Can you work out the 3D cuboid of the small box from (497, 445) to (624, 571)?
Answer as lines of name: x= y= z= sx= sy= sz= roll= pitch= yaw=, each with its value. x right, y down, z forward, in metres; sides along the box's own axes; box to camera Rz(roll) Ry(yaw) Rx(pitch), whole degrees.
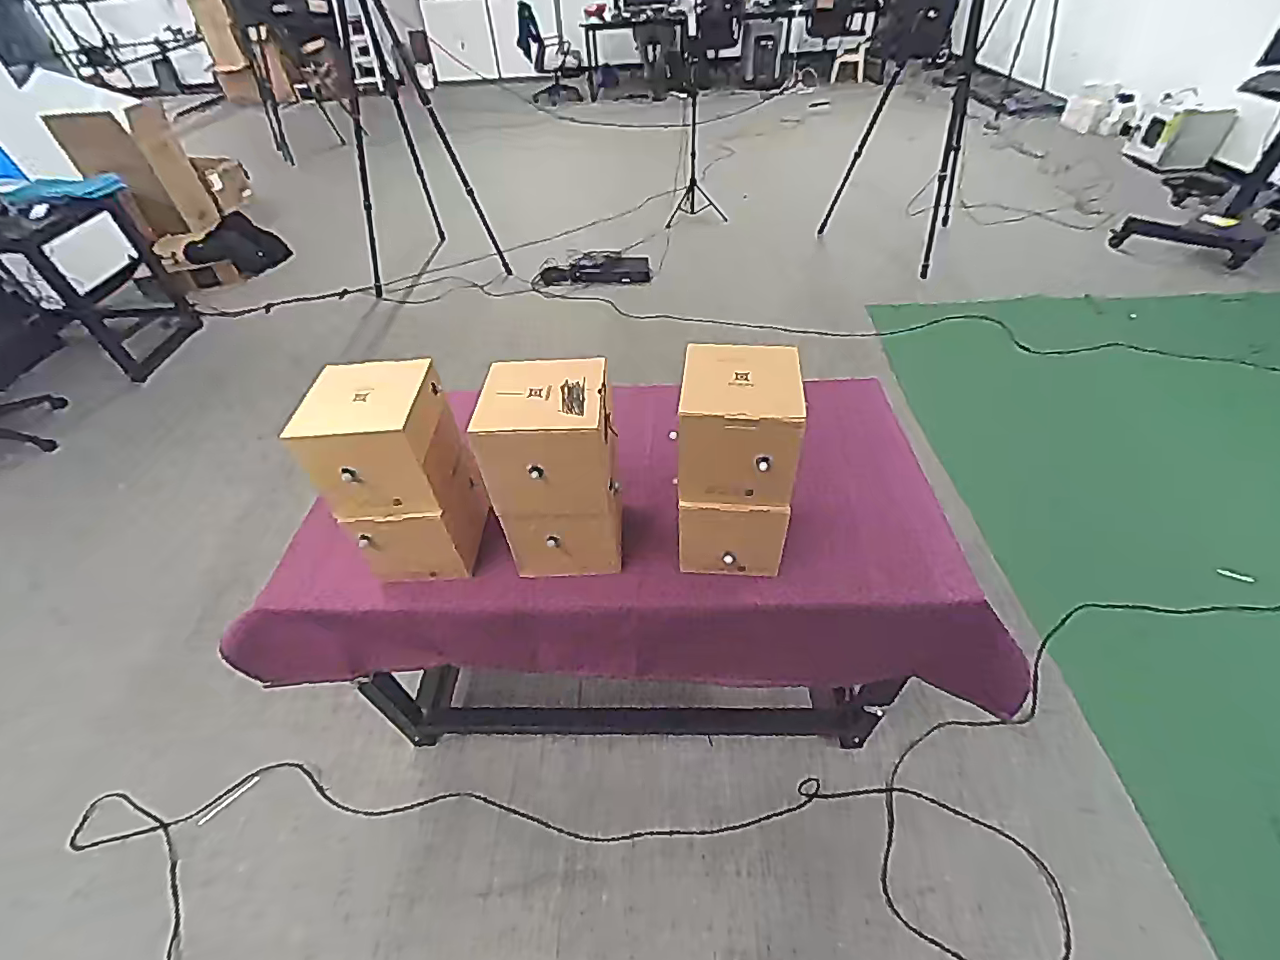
small box: x=-0.125 y=0.044 z=0.928 sx=0.179 sy=0.176 sz=0.168 roll=-2 pitch=46 yaw=3

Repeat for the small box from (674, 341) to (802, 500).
small box: x=0.143 y=-0.087 z=0.803 sx=0.168 sy=0.176 sz=0.179 roll=4 pitch=45 yaw=8

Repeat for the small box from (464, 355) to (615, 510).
small box: x=-0.134 y=-0.067 z=0.806 sx=0.179 sy=0.176 sz=0.168 roll=-2 pitch=45 yaw=4

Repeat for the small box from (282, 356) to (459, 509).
small box: x=-0.393 y=-0.067 z=0.830 sx=0.168 sy=0.176 sz=0.179 roll=-4 pitch=44 yaw=0

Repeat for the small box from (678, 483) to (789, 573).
small box: x=0.152 y=0.033 z=0.912 sx=0.168 sy=0.176 sz=0.179 roll=2 pitch=46 yaw=7
